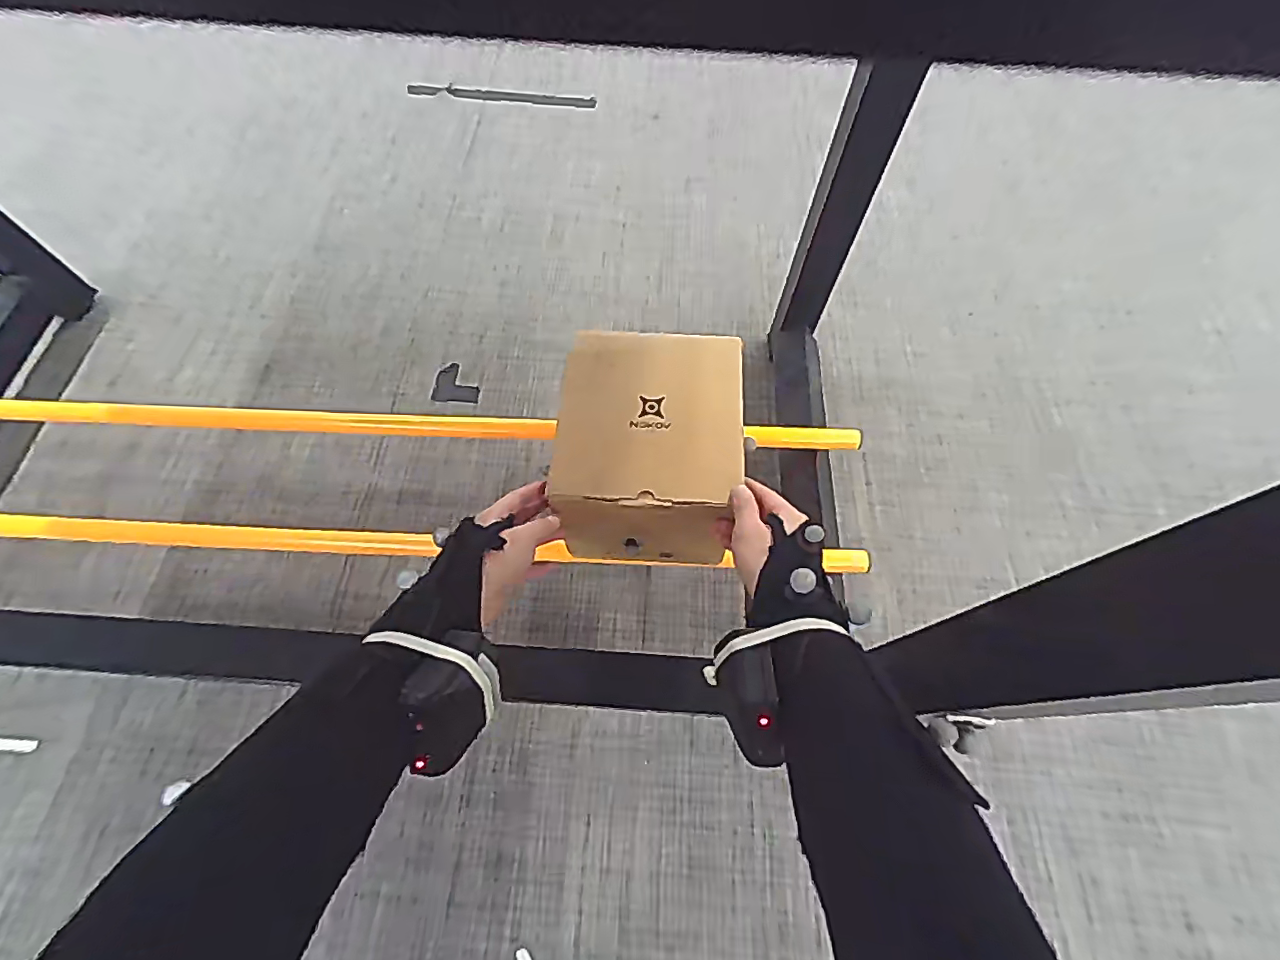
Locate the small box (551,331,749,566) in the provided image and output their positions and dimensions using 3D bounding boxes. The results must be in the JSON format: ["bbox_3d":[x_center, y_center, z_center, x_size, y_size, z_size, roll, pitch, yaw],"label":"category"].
[{"bbox_3d":[0.013,-0.025,0.548,0.168,0.176,0.179,3,65,2],"label":"small box"}]
